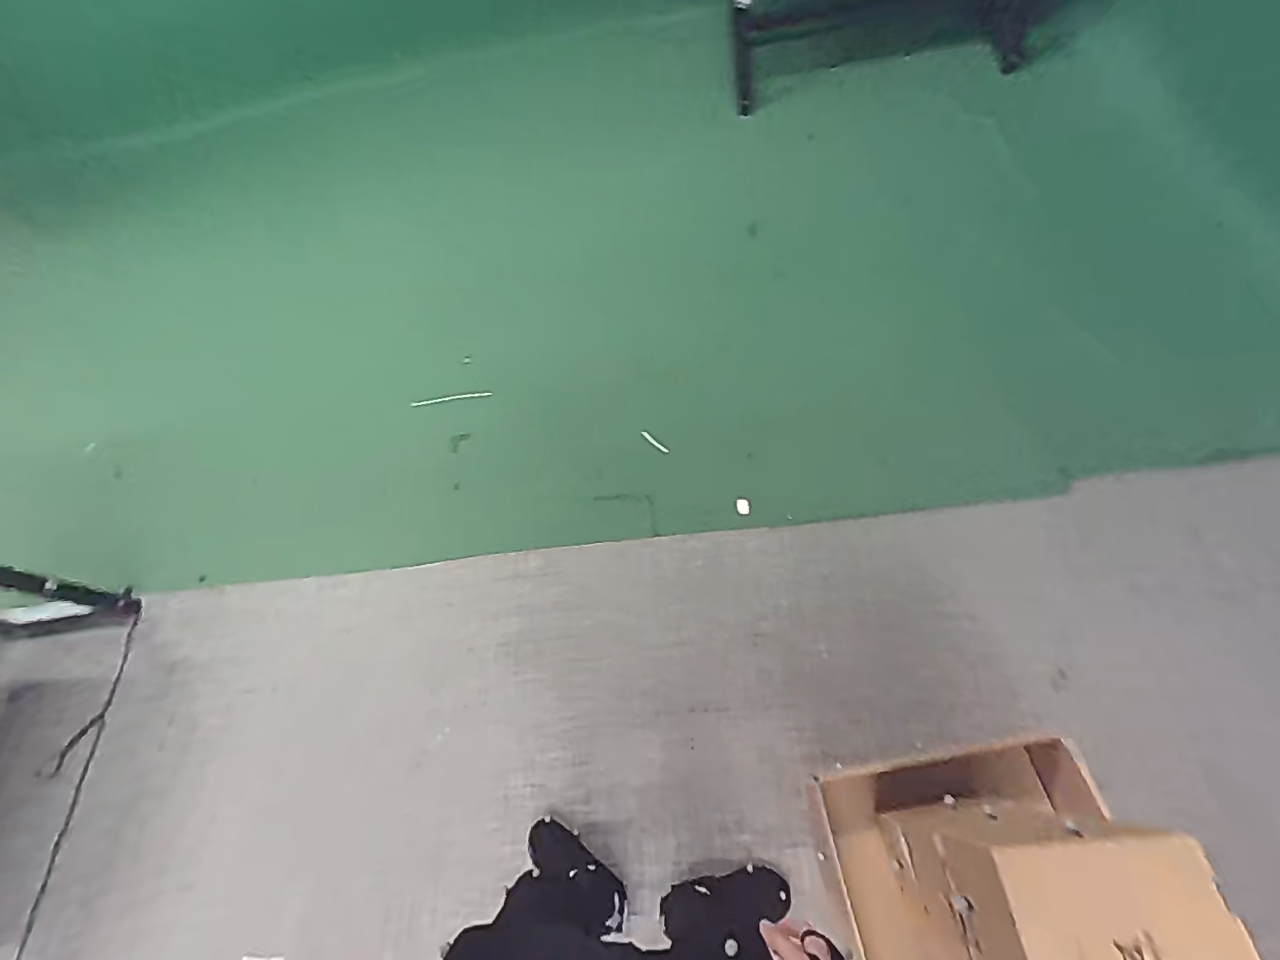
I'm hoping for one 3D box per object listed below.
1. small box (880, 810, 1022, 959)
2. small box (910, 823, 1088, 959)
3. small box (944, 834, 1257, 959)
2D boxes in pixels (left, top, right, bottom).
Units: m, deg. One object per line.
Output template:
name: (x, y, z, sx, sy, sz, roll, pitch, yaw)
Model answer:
small box: (0.474, 0.595, 0.796, 0.179, 0.176, 0.168, -12, 60, 3)
small box: (0.448, 0.521, 0.652, 0.179, 0.176, 0.168, -8, 62, 5)
small box: (0.426, 0.443, 0.511, 0.179, 0.176, 0.168, -7, 61, 7)
